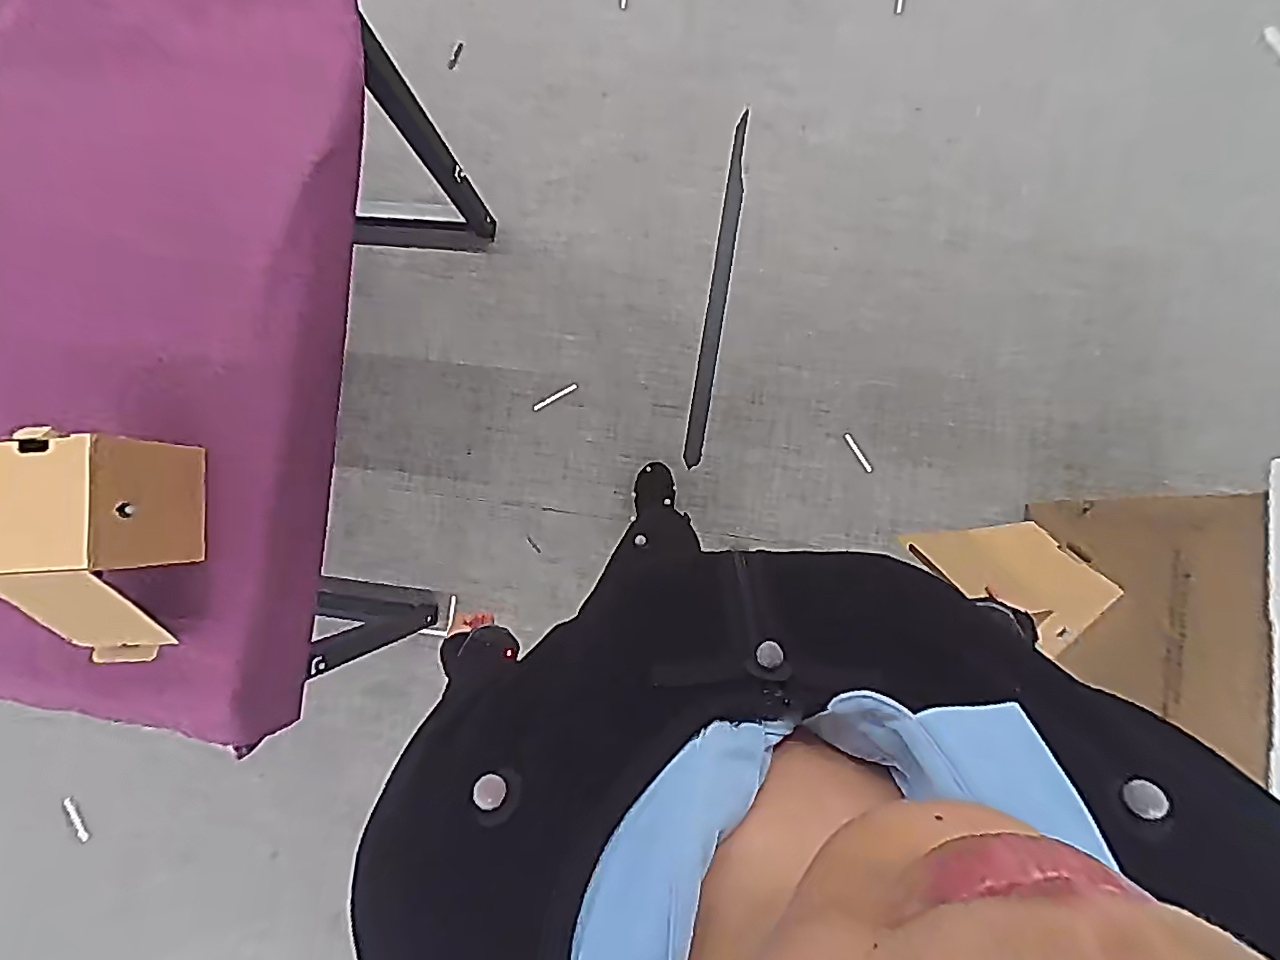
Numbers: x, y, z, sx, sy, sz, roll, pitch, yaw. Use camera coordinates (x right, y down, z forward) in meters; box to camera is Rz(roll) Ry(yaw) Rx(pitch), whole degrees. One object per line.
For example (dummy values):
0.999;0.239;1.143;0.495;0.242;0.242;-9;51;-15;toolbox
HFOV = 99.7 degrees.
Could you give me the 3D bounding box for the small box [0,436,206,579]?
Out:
-0.754;0.039;0.757;0.168;0.176;0.179;-3;86;4;small box
